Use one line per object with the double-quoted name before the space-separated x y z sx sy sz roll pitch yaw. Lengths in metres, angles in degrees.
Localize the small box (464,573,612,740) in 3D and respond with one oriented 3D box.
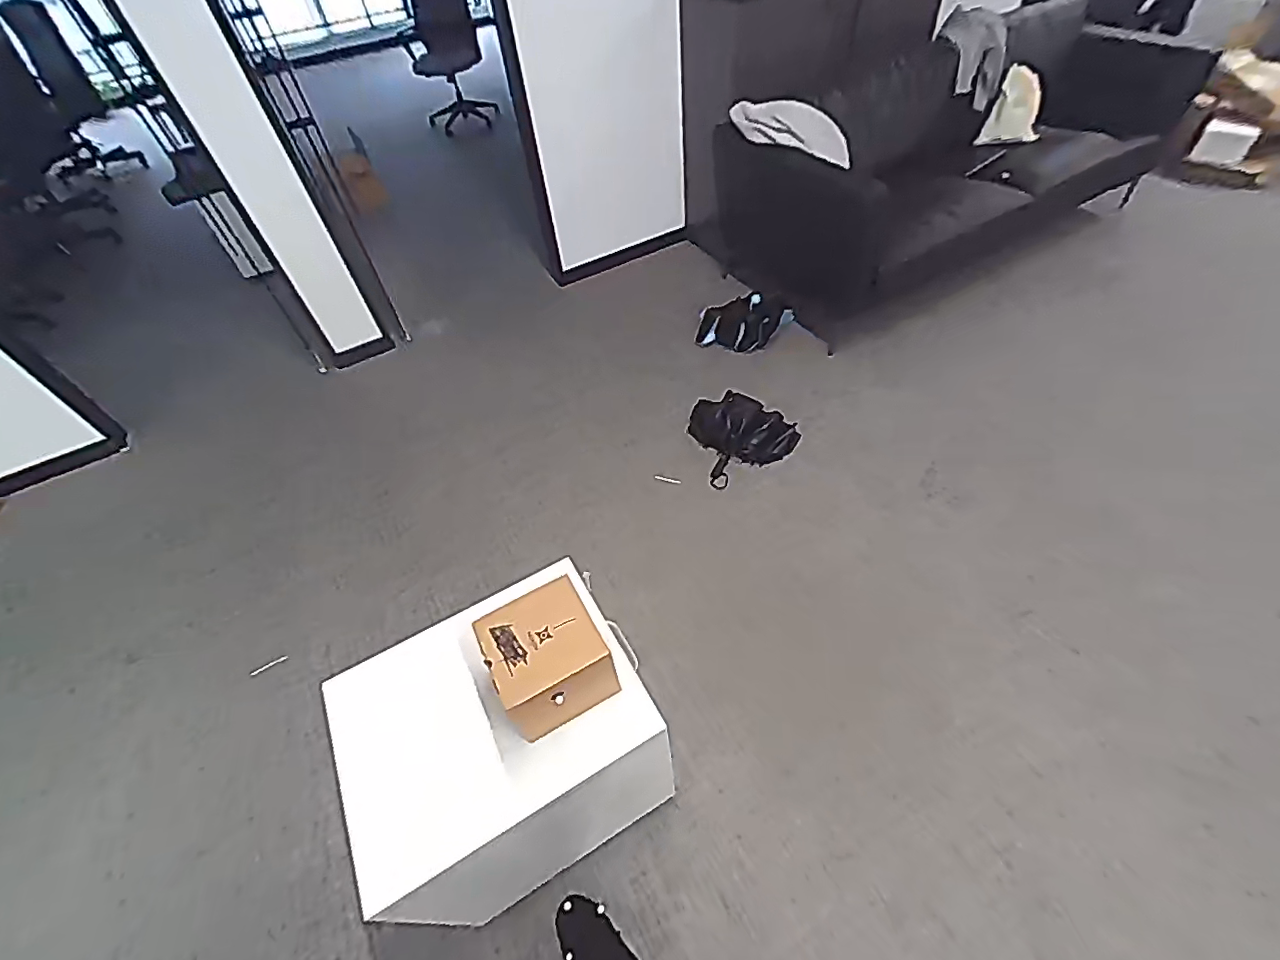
"small box" -0.160 0.291 0.885 0.179 0.176 0.168 -25 53 -18
